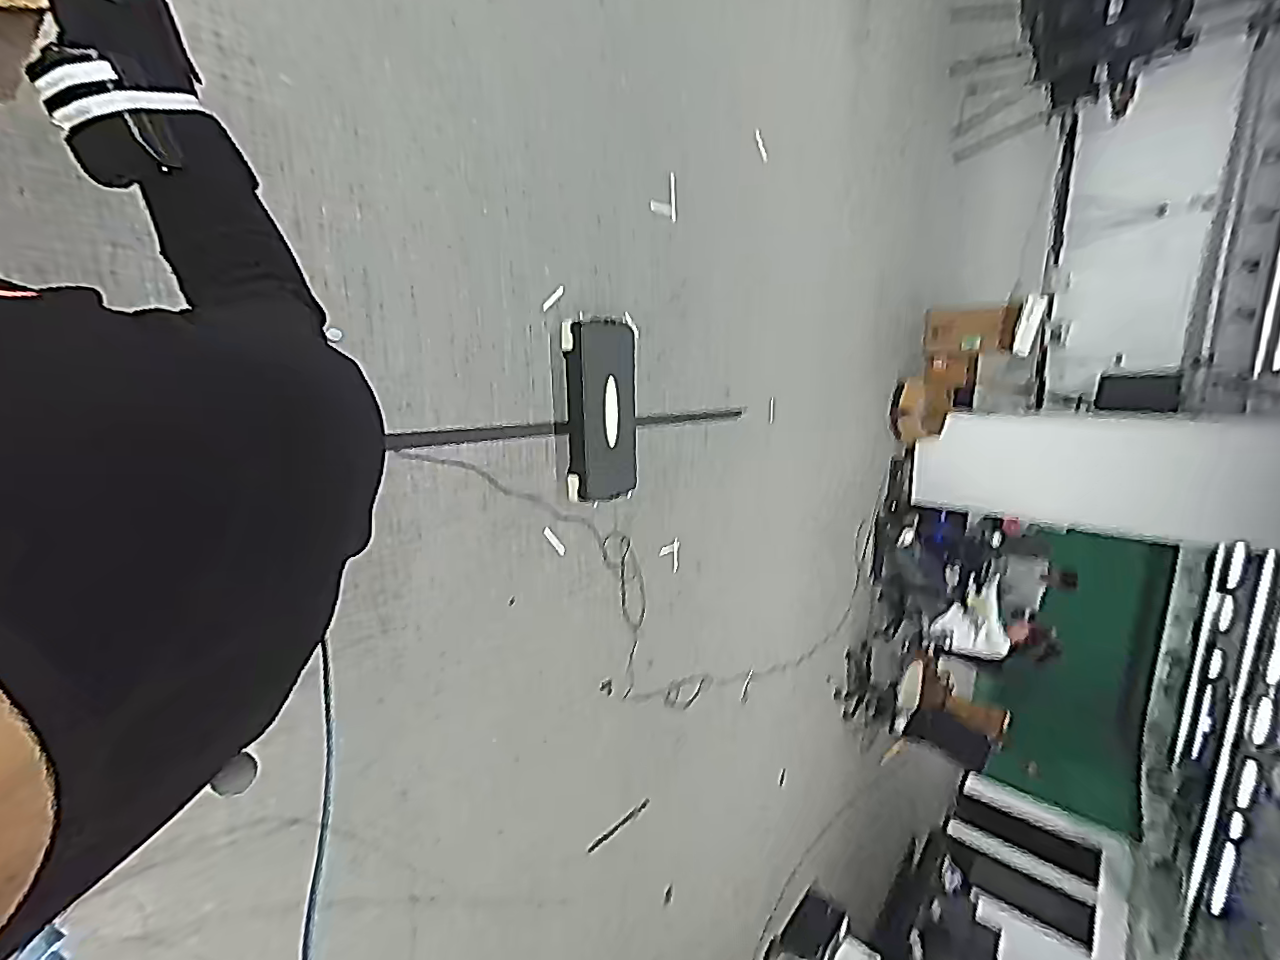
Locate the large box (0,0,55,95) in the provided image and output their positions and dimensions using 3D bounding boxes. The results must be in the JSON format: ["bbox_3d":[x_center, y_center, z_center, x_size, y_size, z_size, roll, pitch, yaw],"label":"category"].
[{"bbox_3d":[-0.609,-0.358,0.216,0.408,0.320,0.320,-37,132,-39],"label":"large box"}]
